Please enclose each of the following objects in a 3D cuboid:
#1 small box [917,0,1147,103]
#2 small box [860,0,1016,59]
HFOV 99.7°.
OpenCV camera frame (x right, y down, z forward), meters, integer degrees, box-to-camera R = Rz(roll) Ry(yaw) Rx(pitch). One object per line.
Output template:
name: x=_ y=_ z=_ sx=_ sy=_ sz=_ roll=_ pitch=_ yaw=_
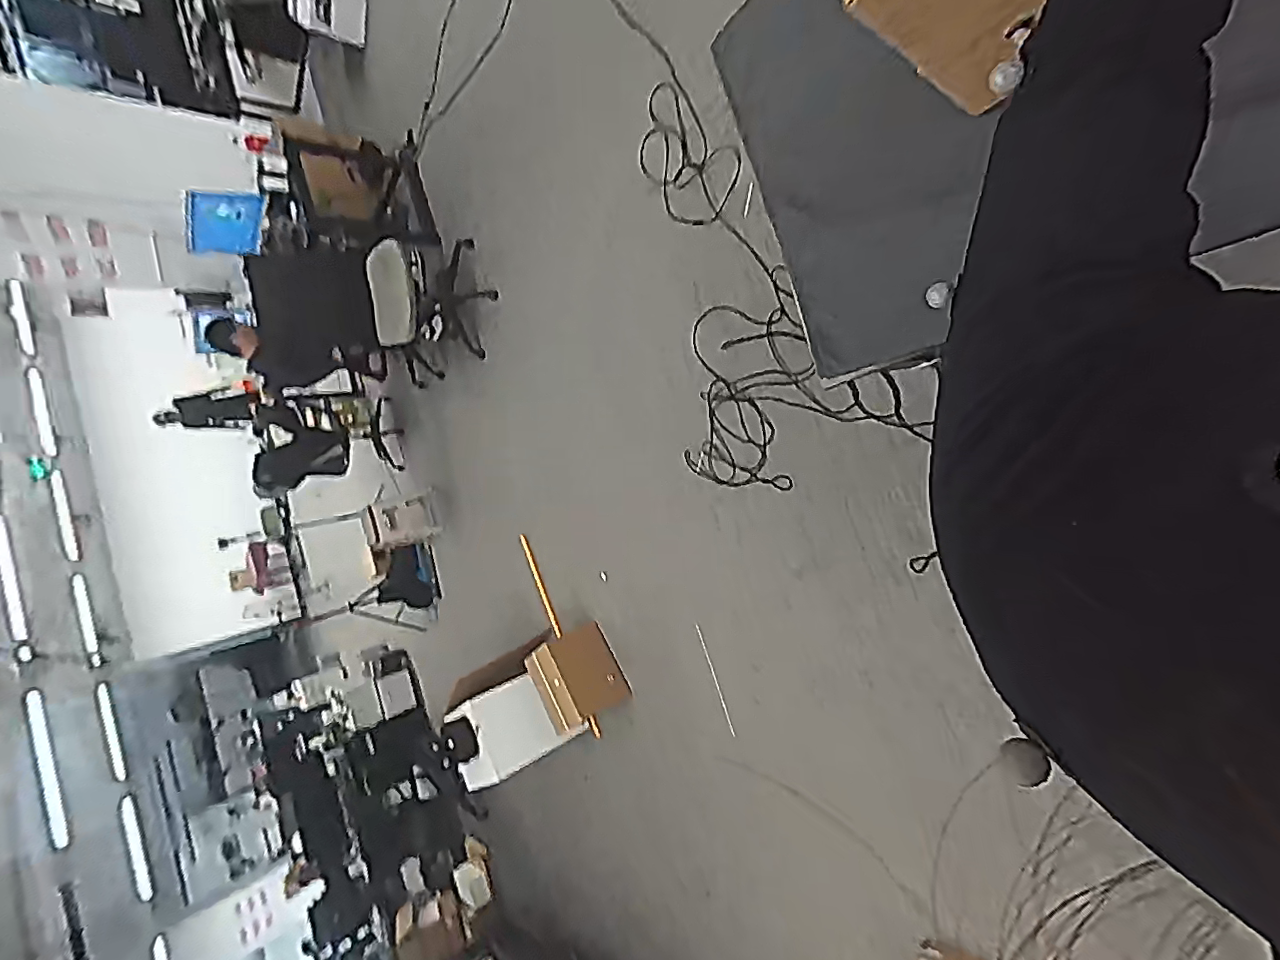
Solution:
small box: x=0.374 y=-0.516 z=0.525 sx=0.179 sy=0.176 sz=0.168 roll=-16 pitch=88 yaw=48
small box: x=0.258 y=-0.484 z=0.413 sx=0.179 sy=0.176 sz=0.168 roll=-18 pitch=85 yaw=49
